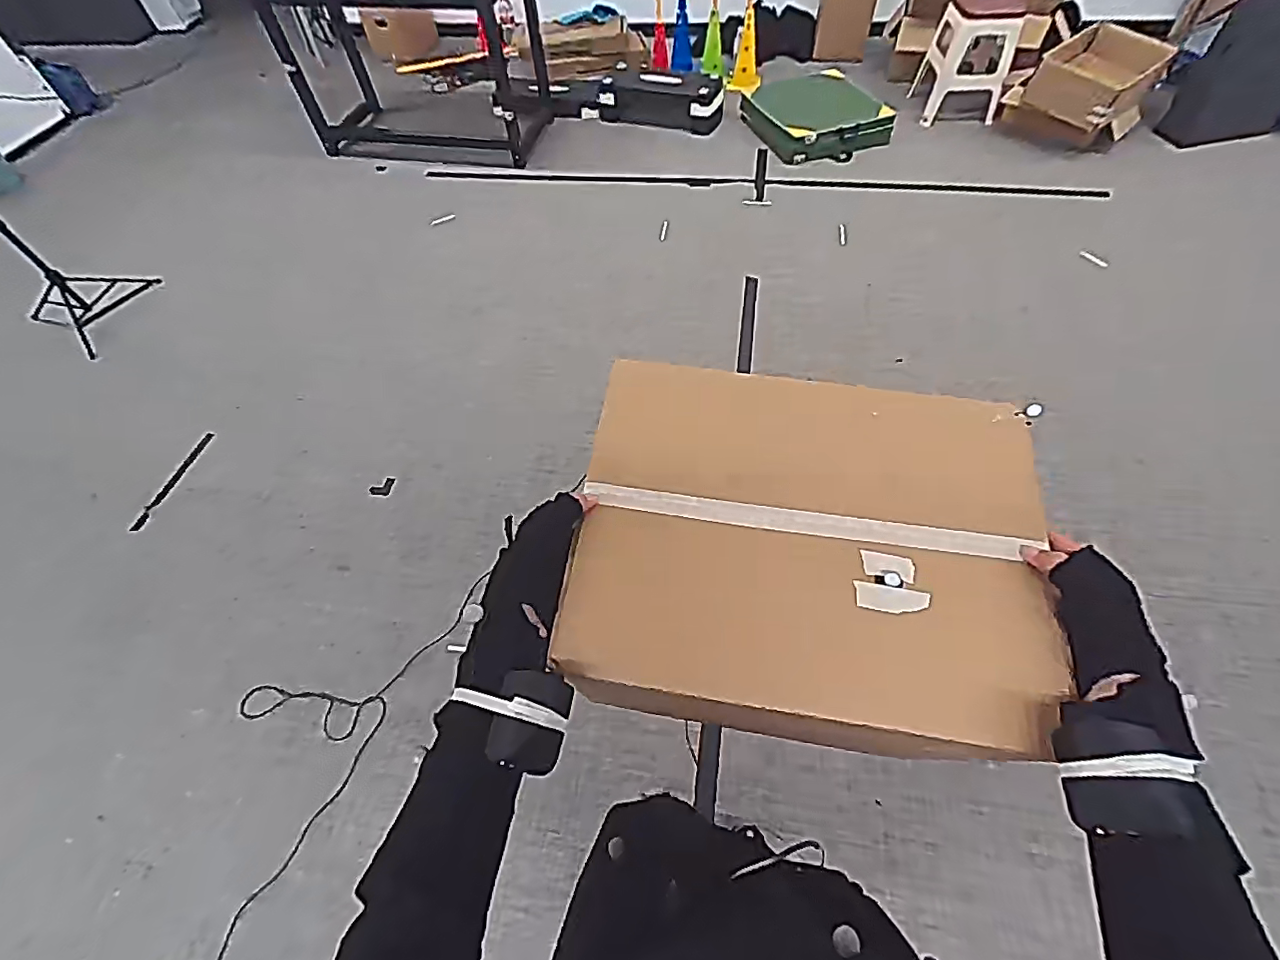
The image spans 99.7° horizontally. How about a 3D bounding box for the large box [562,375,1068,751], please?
[{"bbox_3d":[0.152,0.113,0.621,0.408,0.320,0.320,8,65,5],"label":"large box"}]
